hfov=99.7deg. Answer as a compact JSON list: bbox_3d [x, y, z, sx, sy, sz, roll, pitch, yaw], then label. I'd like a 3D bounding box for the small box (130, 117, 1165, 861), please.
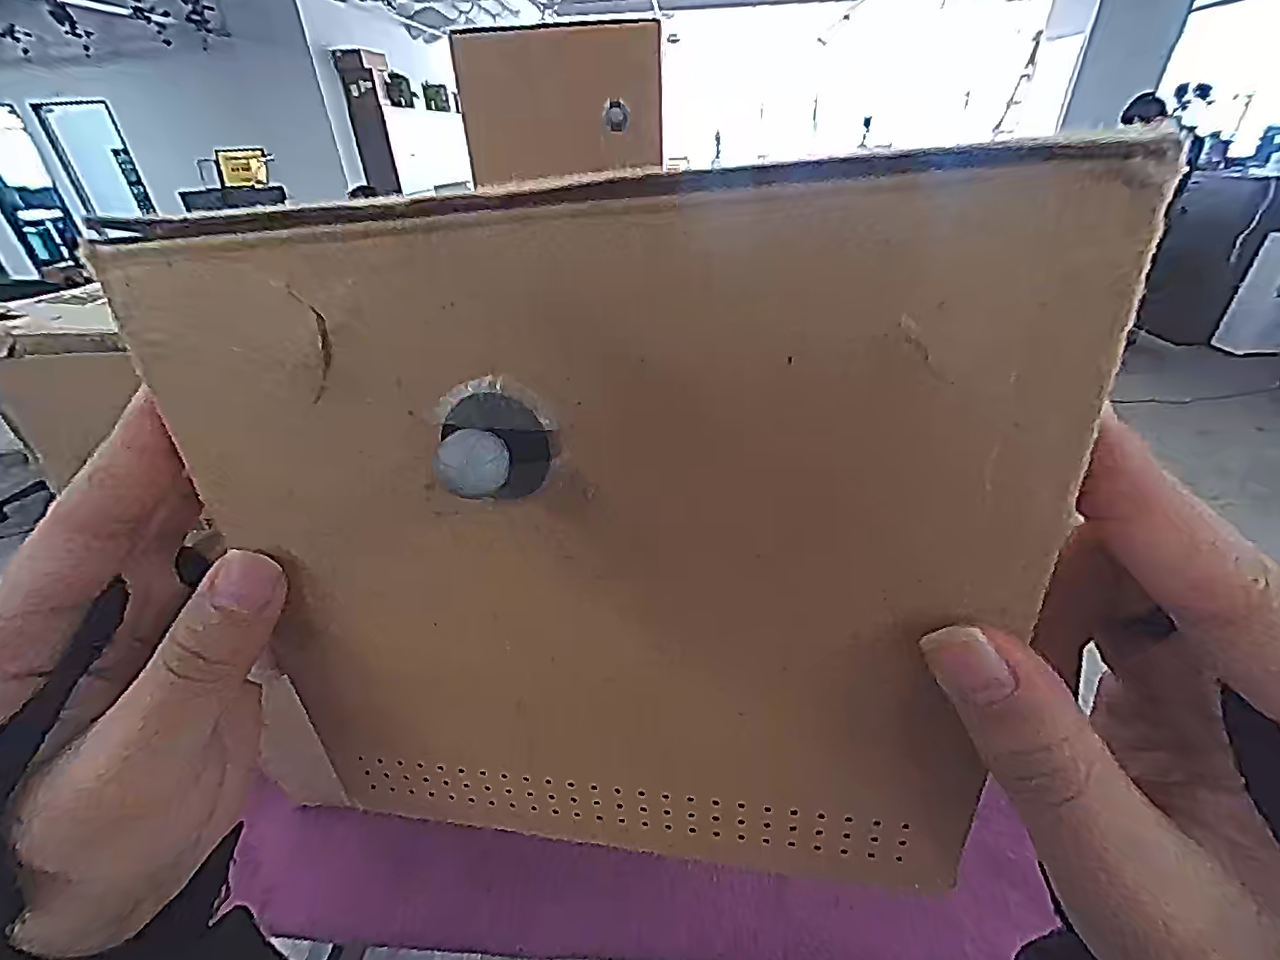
[{"bbox_3d":[0.006,-0.005,0.189,0.179,0.176,0.168,1,27,11],"label":"small box"}]
